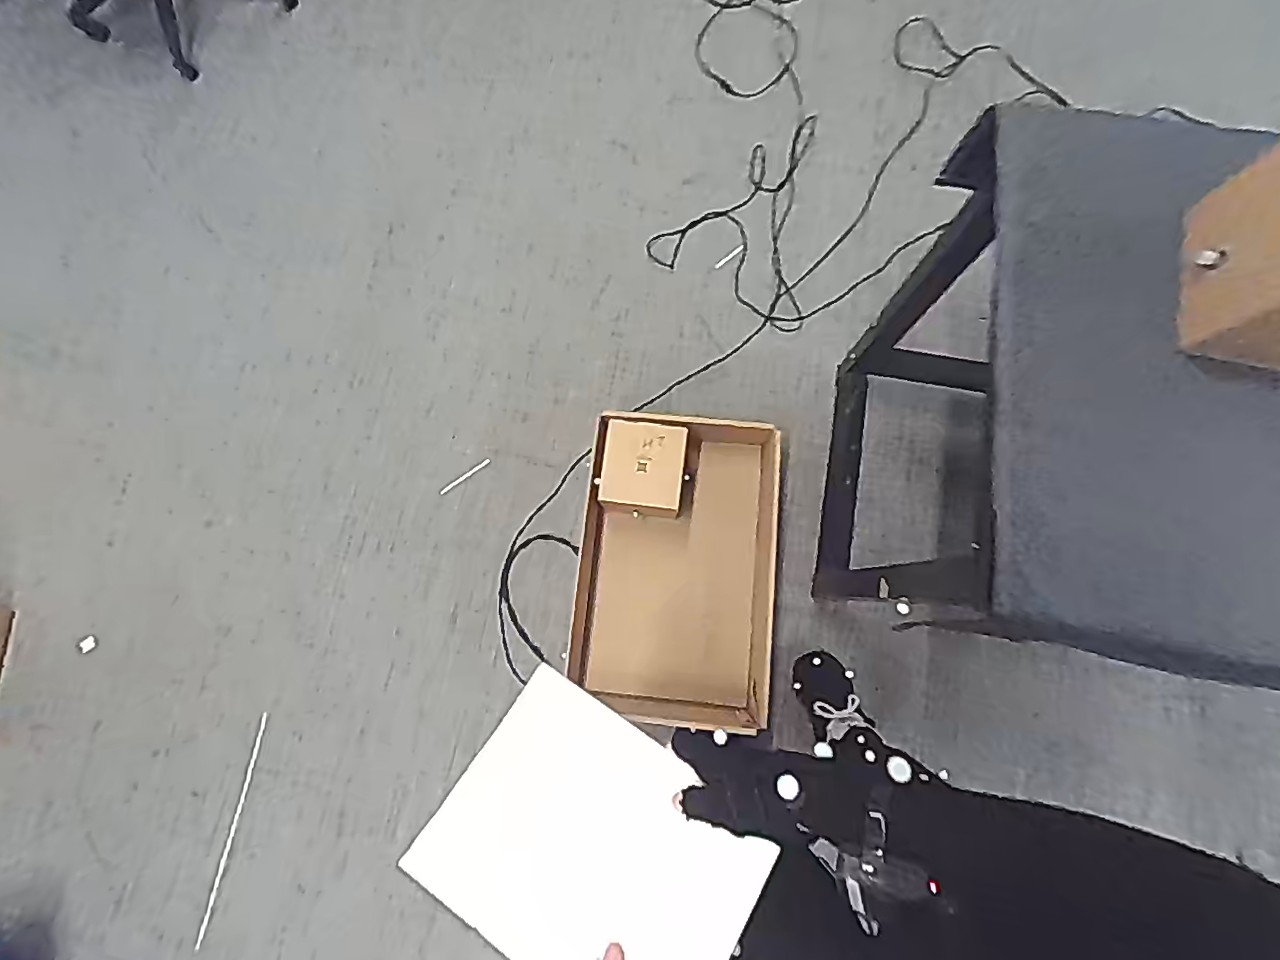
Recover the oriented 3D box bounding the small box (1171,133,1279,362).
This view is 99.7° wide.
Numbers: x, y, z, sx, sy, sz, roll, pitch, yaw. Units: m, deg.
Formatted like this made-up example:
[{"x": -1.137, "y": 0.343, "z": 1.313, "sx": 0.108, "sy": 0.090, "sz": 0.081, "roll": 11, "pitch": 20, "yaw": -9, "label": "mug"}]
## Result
[{"x": 0.658, "y": -0.221, "z": 0.507, "sx": 0.168, "sy": 0.176, "sz": 0.179, "roll": 12, "pitch": 80, "yaw": 4, "label": "small box"}]
